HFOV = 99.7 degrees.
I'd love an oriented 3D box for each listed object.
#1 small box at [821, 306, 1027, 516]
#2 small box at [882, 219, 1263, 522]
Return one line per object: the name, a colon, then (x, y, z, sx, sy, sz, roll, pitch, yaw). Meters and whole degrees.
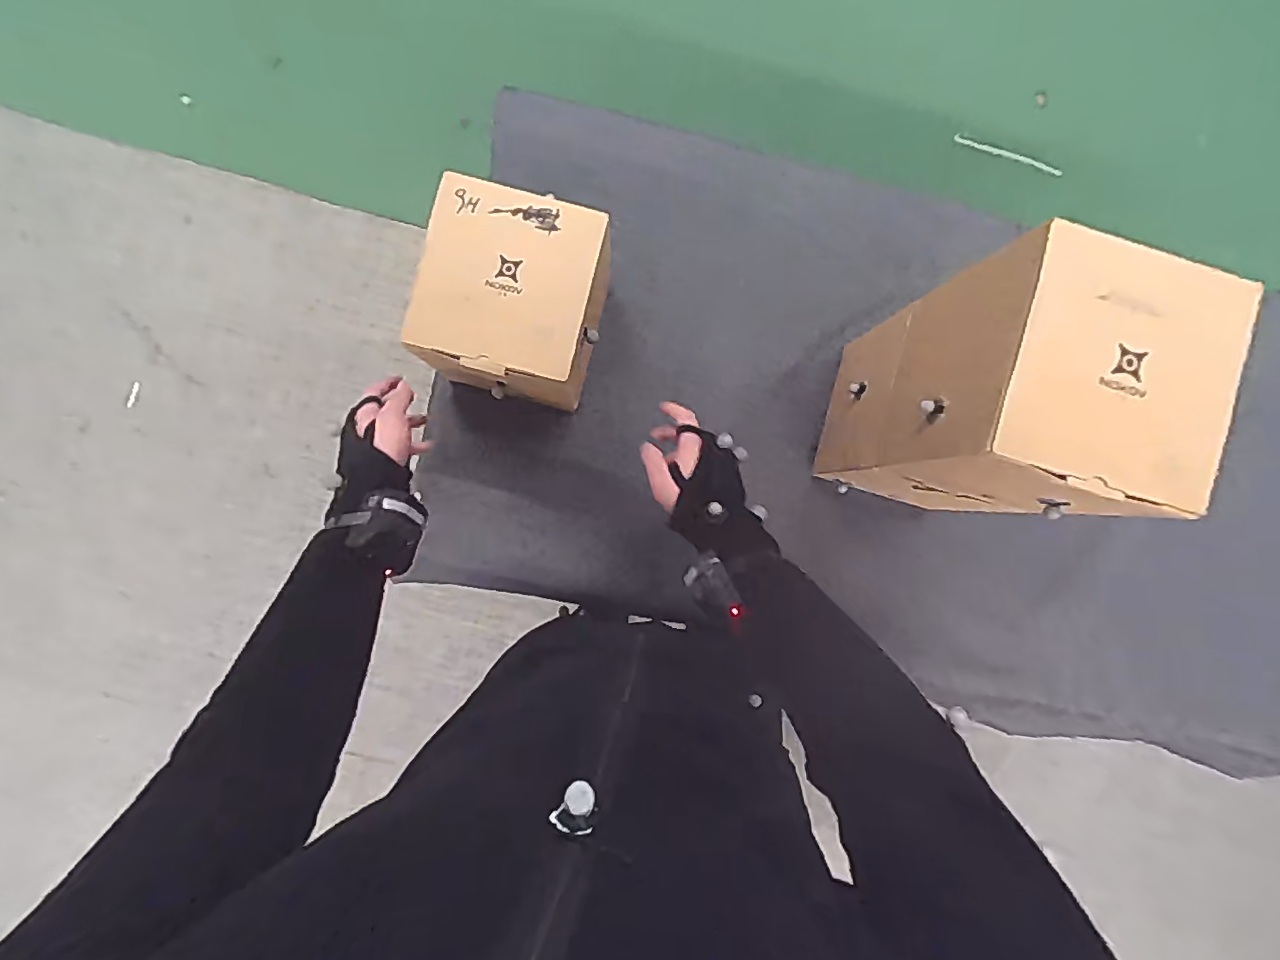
small box: (0.324, -0.066, 0.614, 0.168, 0.176, 0.179, 15, 88, -2)
small box: (0.331, -0.073, 0.451, 0.168, 0.176, 0.179, 16, 87, -4)
